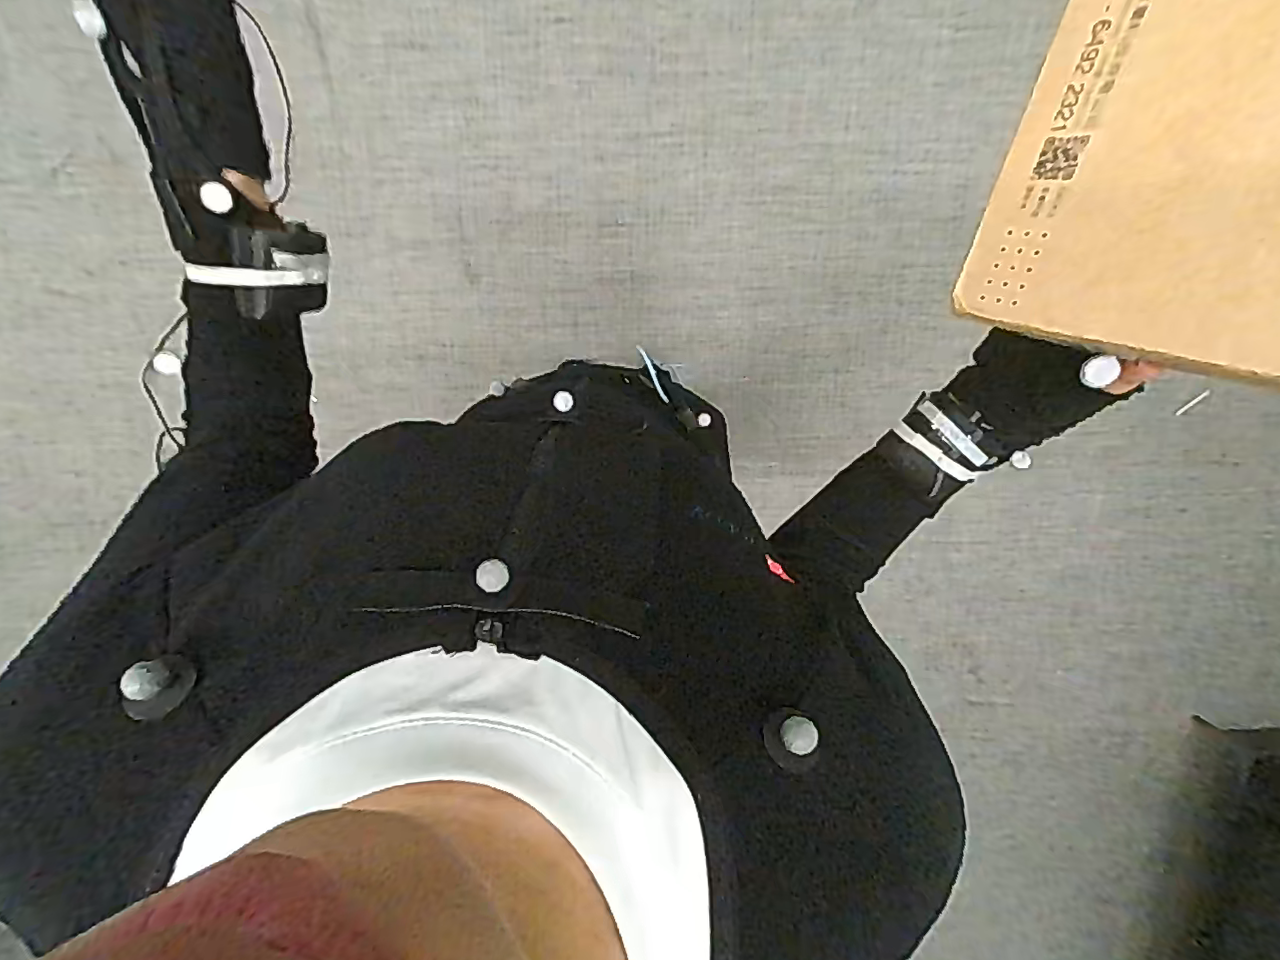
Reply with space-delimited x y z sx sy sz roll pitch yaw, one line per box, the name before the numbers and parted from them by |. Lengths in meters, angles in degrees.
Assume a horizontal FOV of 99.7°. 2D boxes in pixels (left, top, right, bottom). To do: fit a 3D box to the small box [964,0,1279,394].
small box | 0.267 -0.119 0.200 0.179 0.176 0.168 -3 117 -36
